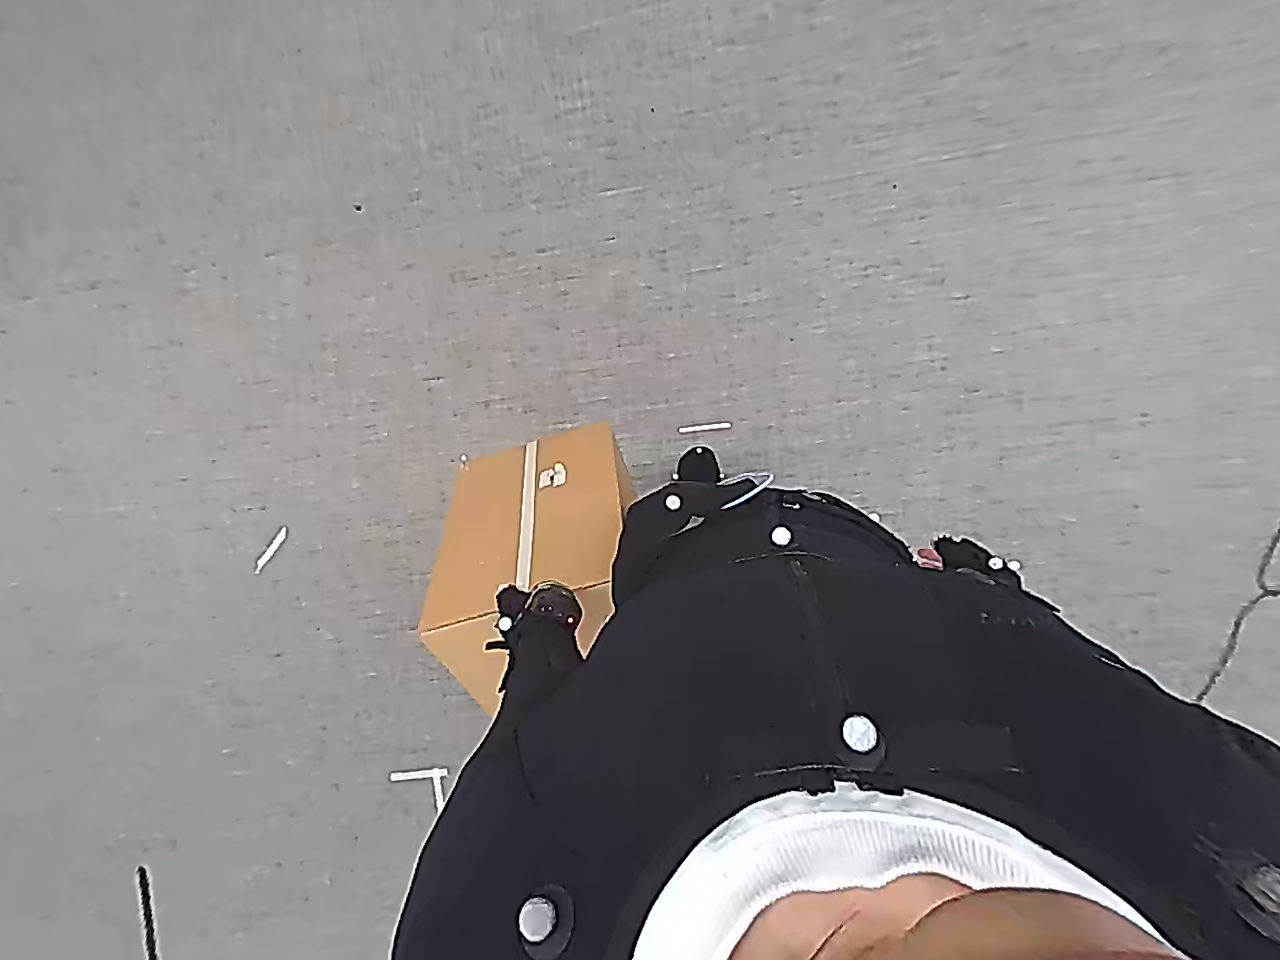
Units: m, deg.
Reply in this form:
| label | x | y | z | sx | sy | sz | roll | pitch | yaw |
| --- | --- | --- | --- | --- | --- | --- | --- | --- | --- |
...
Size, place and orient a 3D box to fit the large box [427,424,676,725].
| label | x | y | z | sx | sy | sz | roll | pitch | yaw |
| --- | --- | --- | --- | --- | --- | --- | --- | --- | --- |
| large box | -0.143 | 0.162 | 0.998 | 0.320 | 0.408 | 0.320 | -15 | 128 | 3 |
